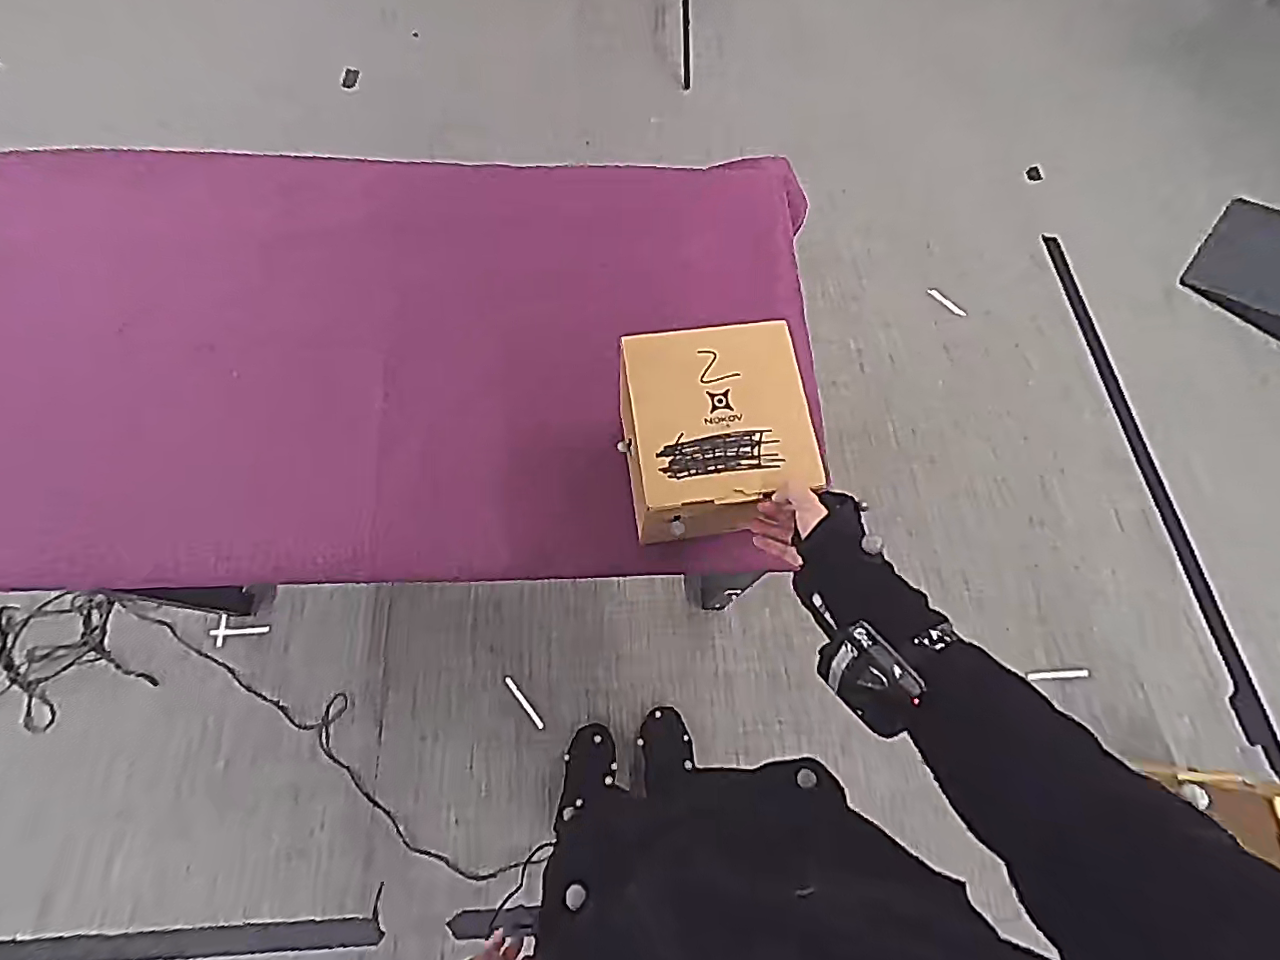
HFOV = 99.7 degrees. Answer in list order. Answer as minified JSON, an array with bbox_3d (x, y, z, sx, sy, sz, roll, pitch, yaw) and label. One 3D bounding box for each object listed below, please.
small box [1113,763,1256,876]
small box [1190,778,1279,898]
[{"bbox_3d":[1.142,0.697,1.122,0.168,0.176,0.179,3,70,-1],"label":"small box"},{"bbox_3d":[1.155,0.644,0.969,0.179,0.176,0.168,2,71,-2],"label":"small box"}]
